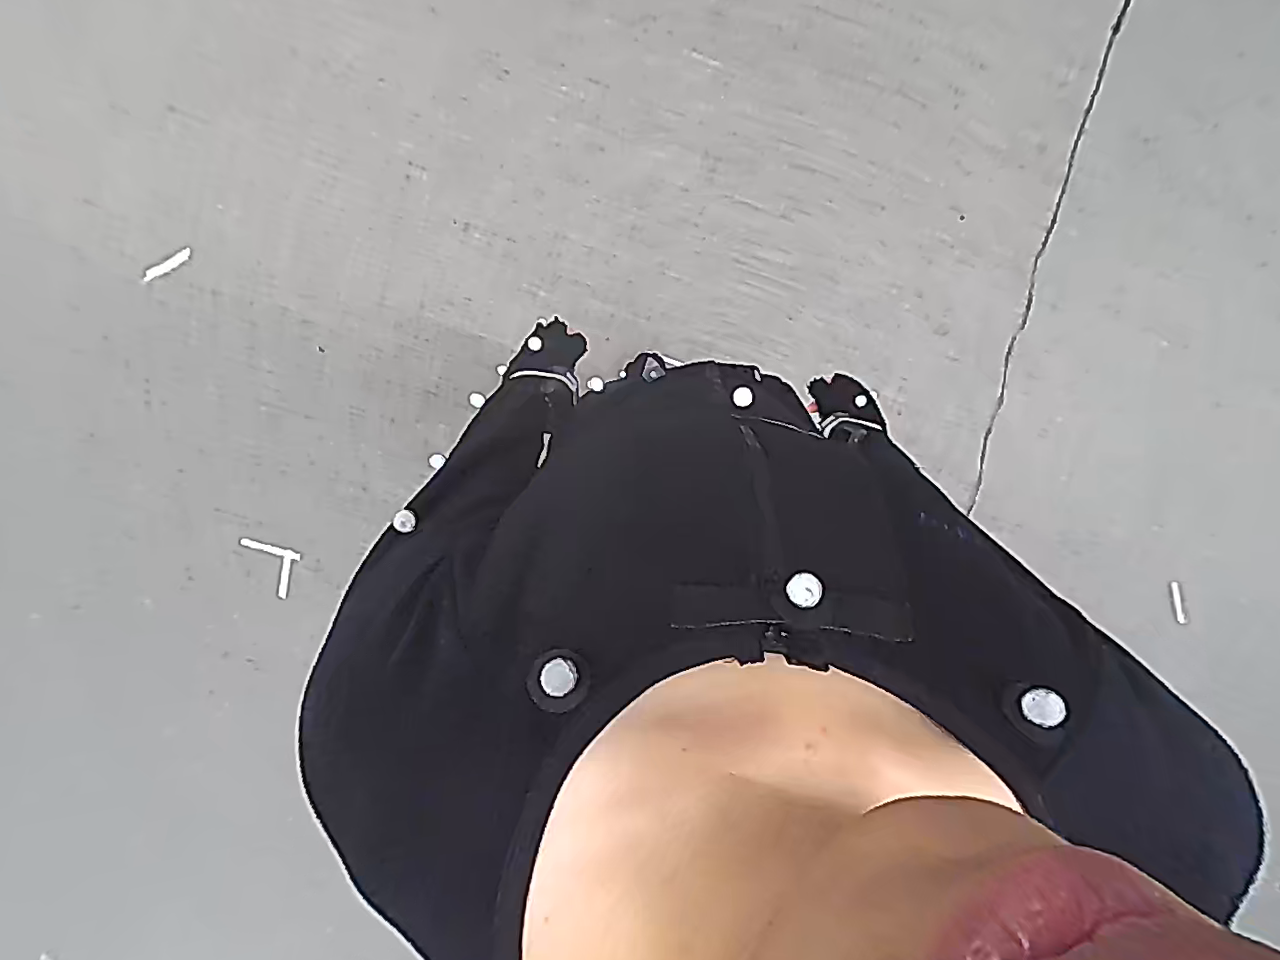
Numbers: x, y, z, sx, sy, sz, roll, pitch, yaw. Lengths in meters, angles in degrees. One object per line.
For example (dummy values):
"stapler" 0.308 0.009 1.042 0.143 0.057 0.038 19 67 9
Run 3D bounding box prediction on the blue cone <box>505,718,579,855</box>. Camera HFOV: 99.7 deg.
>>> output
"blue cone" -0.308 0.891 1.540 0.192 0.380 0.193 35 101 -6
